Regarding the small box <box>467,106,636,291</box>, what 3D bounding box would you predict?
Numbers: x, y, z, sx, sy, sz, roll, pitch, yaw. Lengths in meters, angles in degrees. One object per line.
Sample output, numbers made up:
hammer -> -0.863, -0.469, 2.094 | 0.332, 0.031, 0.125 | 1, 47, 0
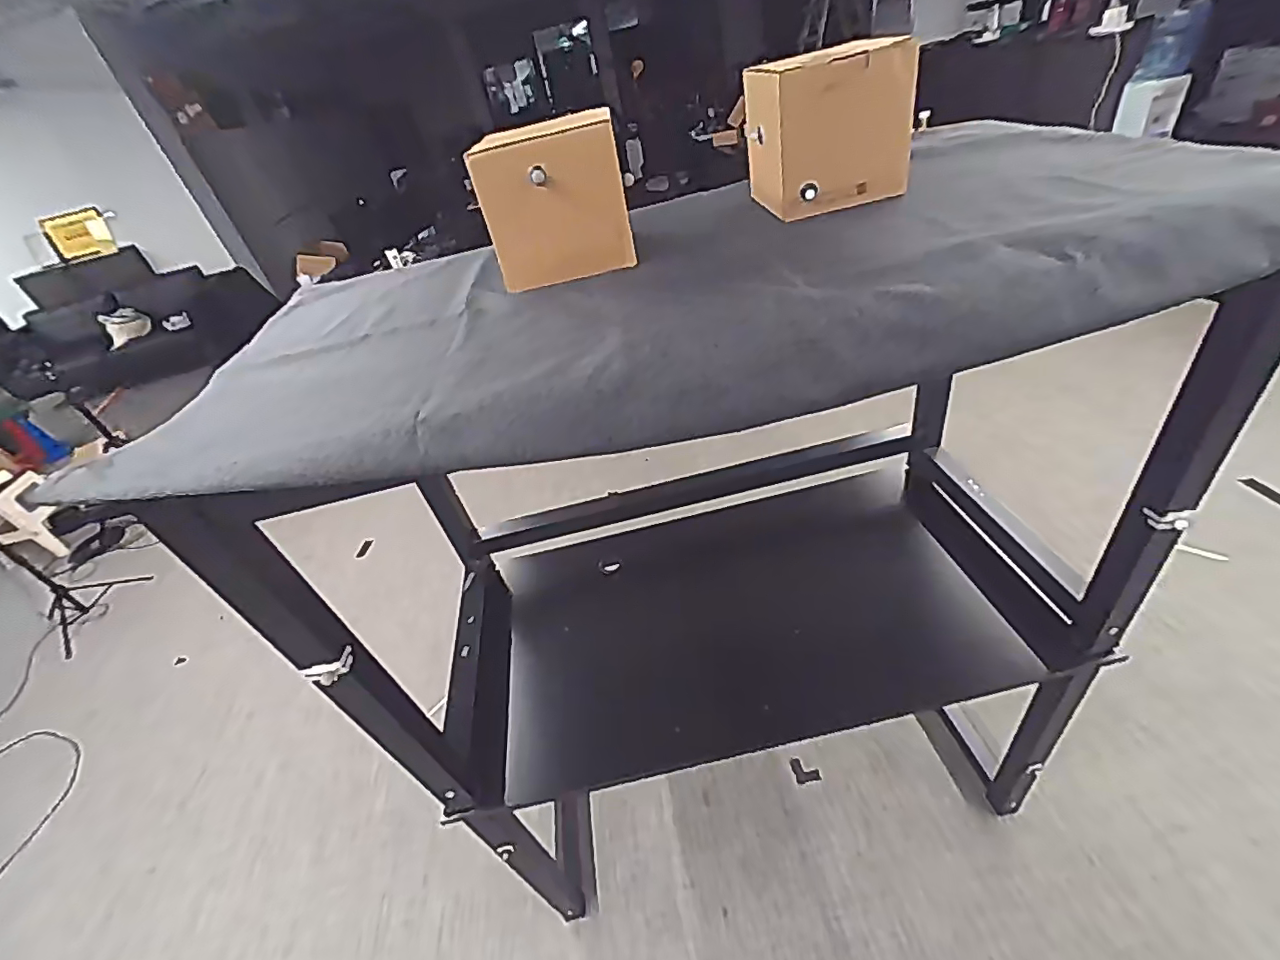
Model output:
small box -> -0.103, -0.375, 0.722 | 0.179, 0.176, 0.168 | -11, 38, 5

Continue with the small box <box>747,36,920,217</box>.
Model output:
small box -> 0.250, -0.473, 0.733 | 0.168, 0.176, 0.179 | -12, 37, 3
